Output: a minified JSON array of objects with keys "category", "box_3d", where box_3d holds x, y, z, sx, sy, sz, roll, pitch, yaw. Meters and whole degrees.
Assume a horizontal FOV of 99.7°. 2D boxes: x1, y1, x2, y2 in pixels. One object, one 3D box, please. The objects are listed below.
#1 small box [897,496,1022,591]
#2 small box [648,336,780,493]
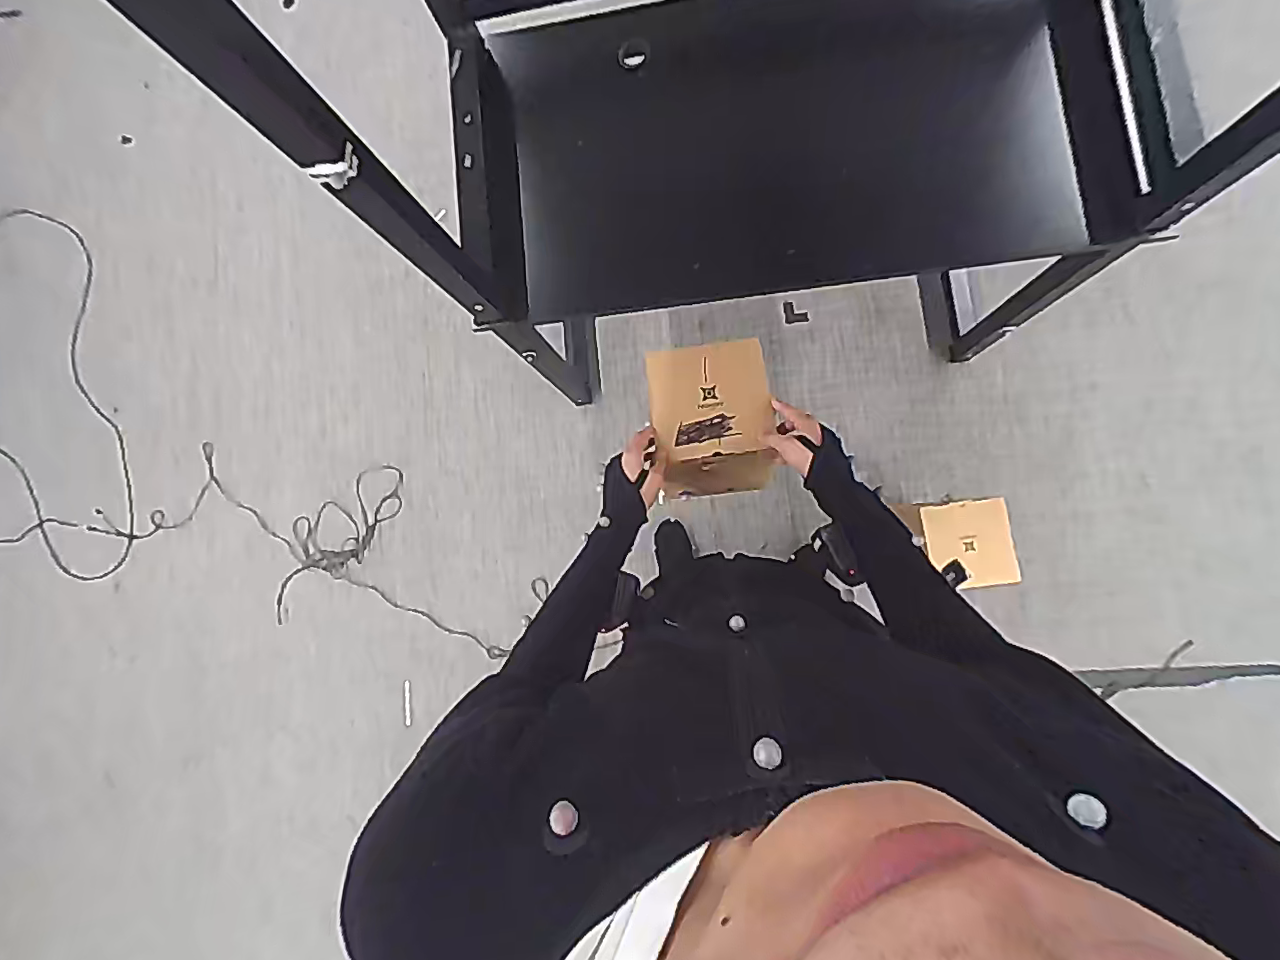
[{"category":"small box","box_3d":[0.679,0.133,1.167,0.168,0.176,0.179,-9,84,7]},{"category":"small box","box_3d":[0.108,-0.087,0.814,0.168,0.176,0.179,-7,70,5]}]
